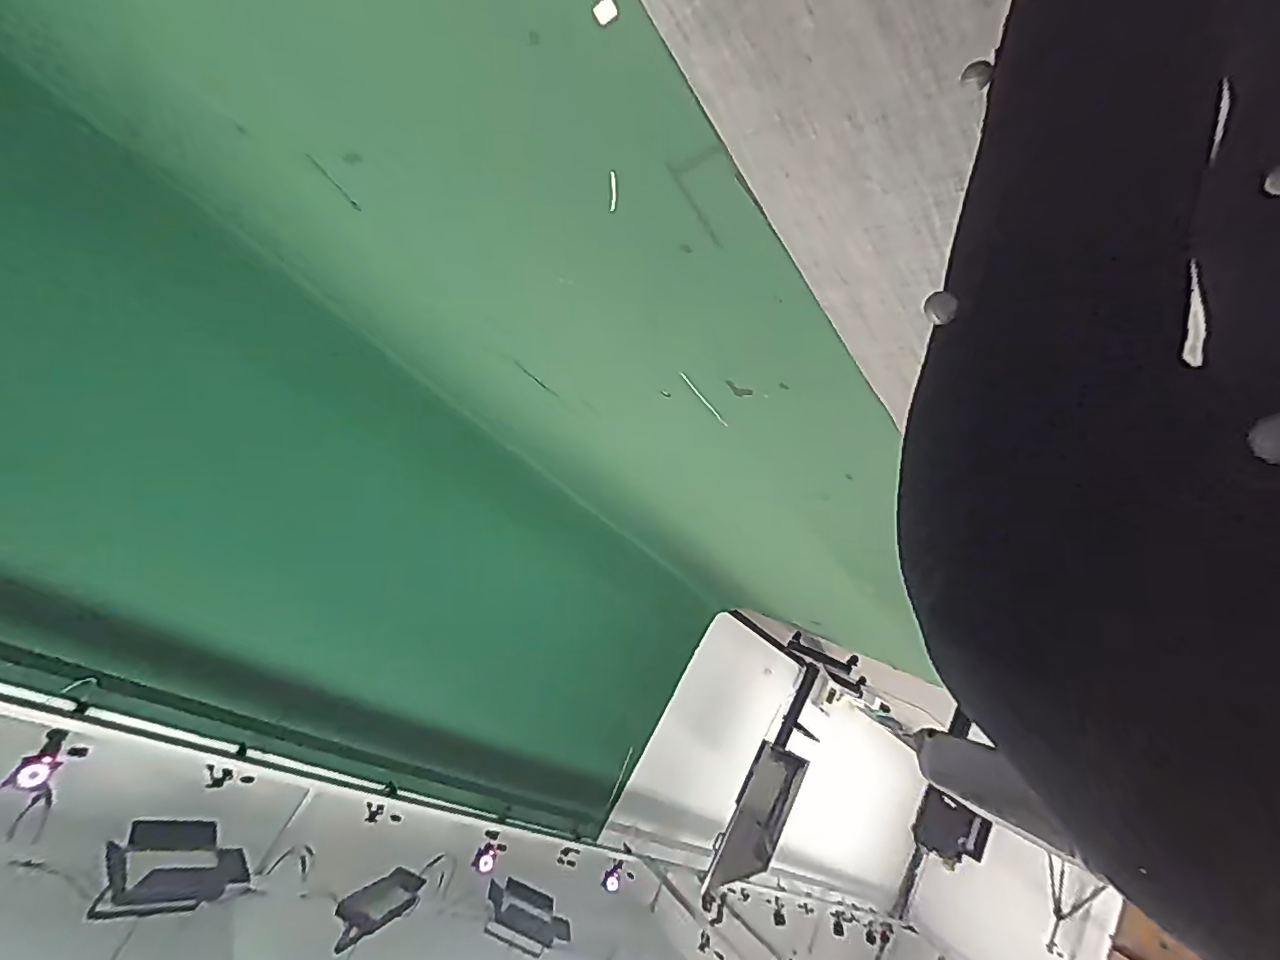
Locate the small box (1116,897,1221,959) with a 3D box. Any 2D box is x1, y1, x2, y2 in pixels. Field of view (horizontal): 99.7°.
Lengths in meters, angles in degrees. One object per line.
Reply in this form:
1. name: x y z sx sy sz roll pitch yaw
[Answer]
1. small box: 1.455 1.296 1.485 0.168 0.176 0.179 38 164 -32
